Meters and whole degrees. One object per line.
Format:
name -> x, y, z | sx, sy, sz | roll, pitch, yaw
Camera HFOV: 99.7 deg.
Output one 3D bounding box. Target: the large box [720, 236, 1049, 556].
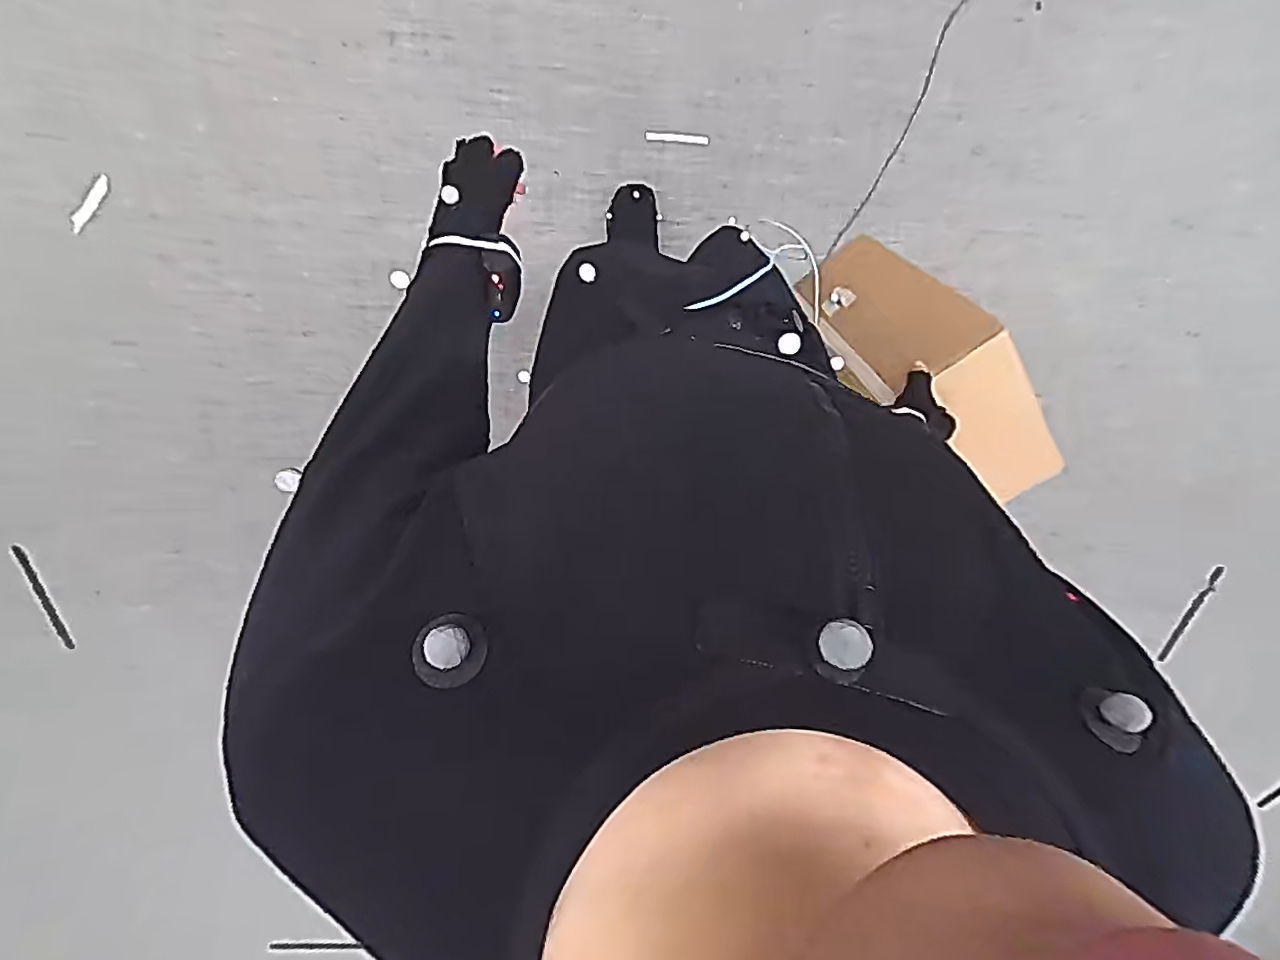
large box -> 0.393, -0.150, 0.947 | 0.320, 0.408, 0.320 | -38, 124, 22
